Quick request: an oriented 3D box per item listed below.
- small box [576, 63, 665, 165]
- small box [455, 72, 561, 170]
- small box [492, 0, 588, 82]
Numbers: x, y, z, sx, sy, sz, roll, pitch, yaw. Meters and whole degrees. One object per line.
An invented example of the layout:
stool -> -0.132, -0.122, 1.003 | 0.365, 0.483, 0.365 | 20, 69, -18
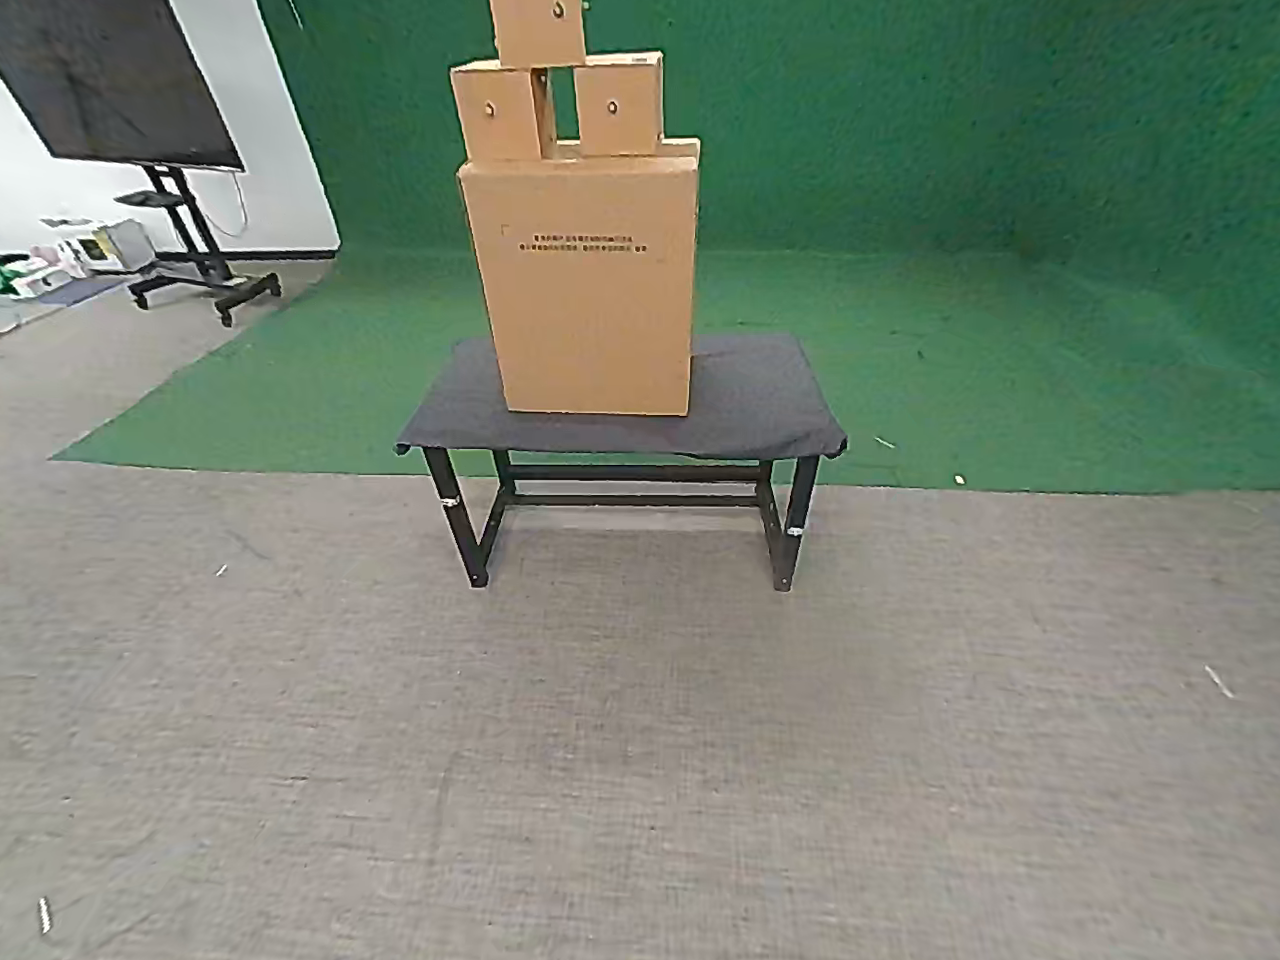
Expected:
small box -> -0.036, -0.835, 1.237 | 0.179, 0.176, 0.168 | 2, 44, 7
small box -> -0.294, -0.827, 1.247 | 0.179, 0.176, 0.168 | 3, 44, 6
small box -> -0.202, -0.948, 1.131 | 0.179, 0.176, 0.168 | -5, 42, -1
